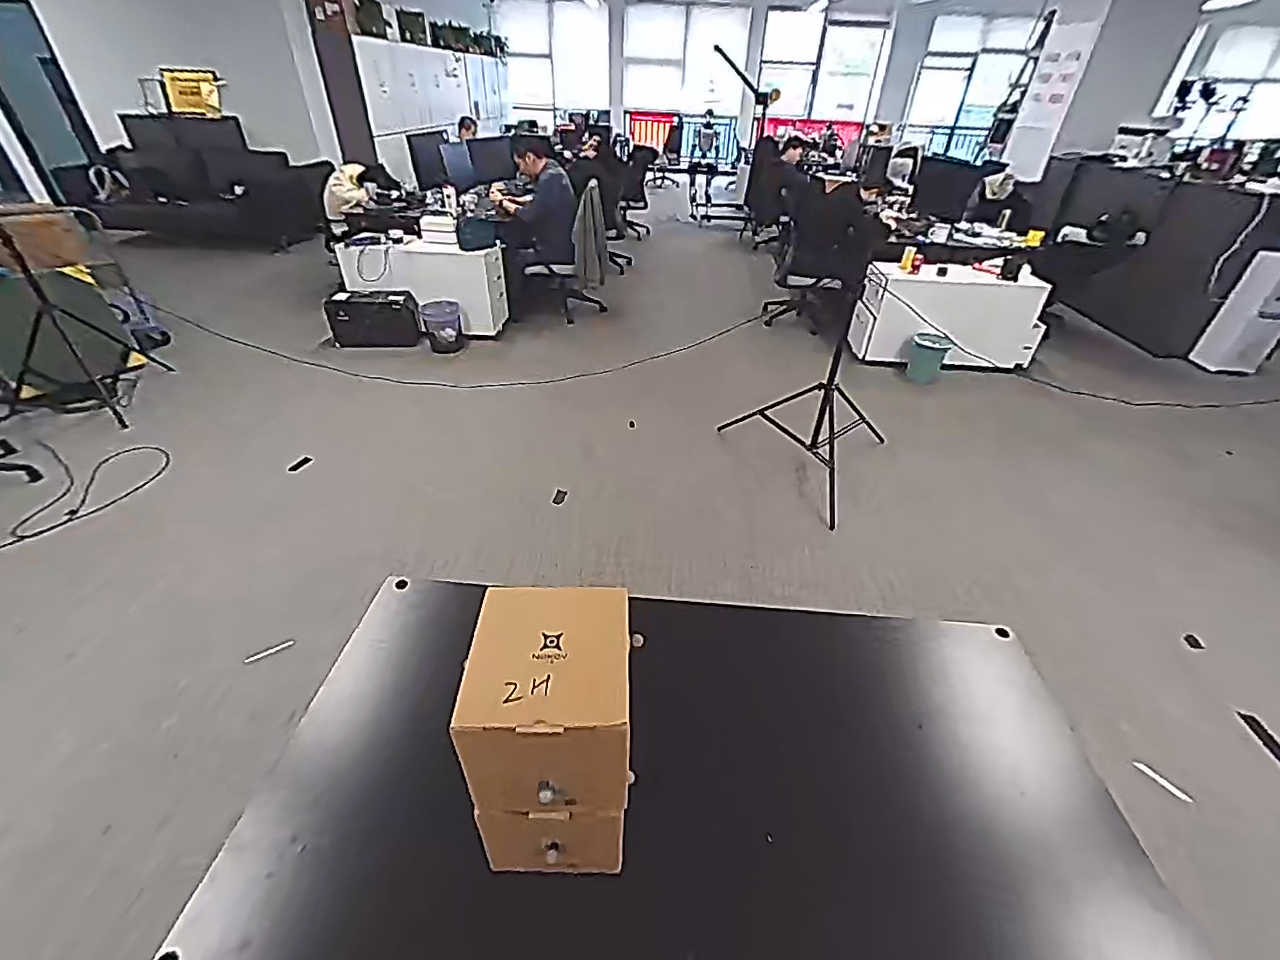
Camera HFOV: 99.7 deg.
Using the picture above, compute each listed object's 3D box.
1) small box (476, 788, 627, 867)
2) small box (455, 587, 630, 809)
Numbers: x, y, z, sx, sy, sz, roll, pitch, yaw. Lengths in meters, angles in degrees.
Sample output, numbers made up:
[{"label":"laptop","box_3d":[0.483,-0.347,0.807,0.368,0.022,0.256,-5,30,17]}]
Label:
[{"label":"small box","box_3d":[-0.101,0.381,0.710,0.168,0.176,0.179,1,36,-1]},{"label":"small box","box_3d":[-0.096,0.244,0.617,0.168,0.176,0.179,0,35,-2]}]
